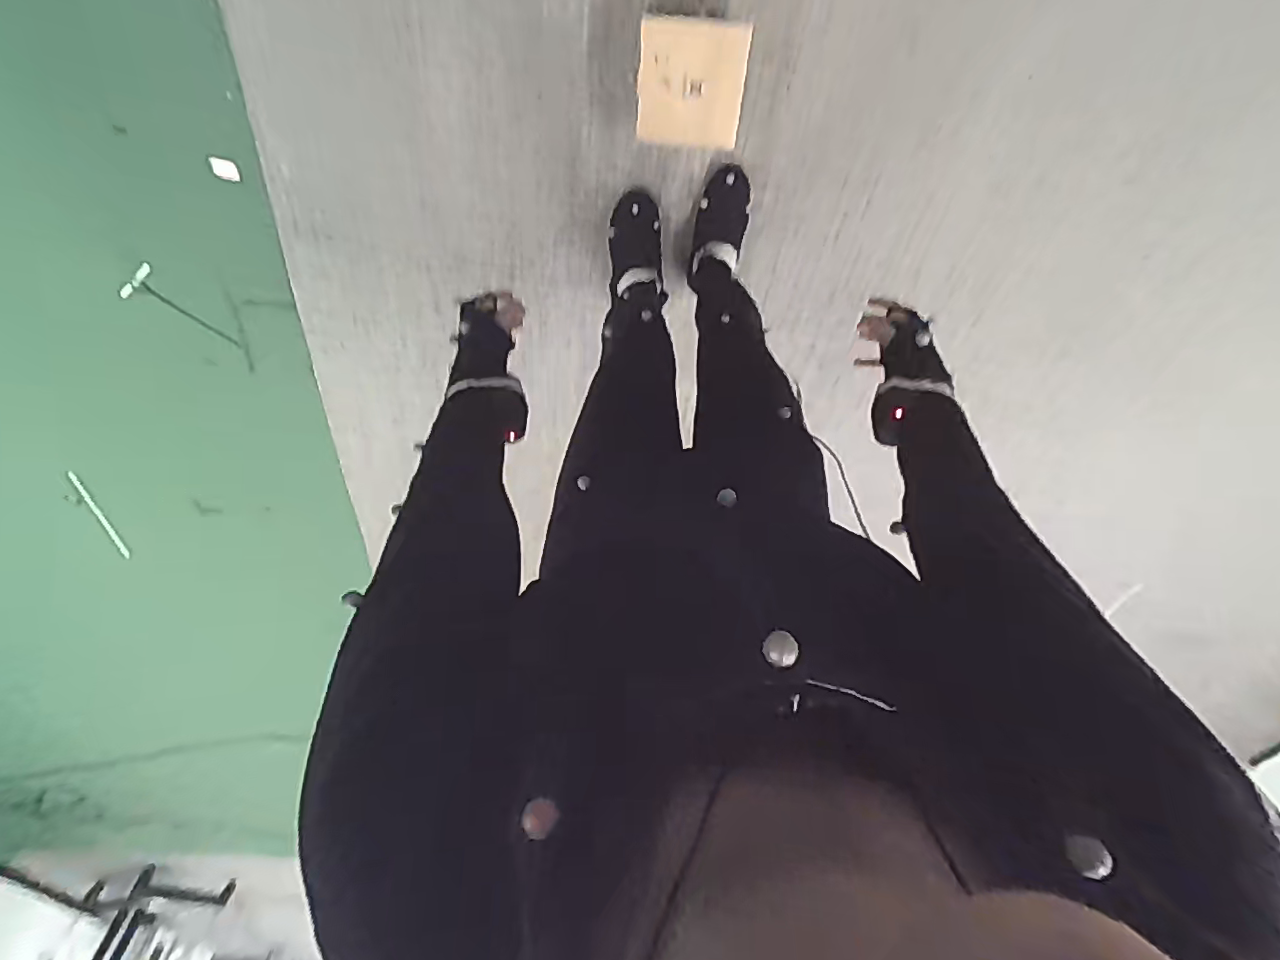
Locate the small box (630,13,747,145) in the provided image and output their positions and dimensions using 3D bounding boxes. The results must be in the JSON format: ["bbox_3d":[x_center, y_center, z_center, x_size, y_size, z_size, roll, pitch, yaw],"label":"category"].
[{"bbox_3d":[0.074,-0.703,0.948,0.179,0.176,0.168,3,129,-3],"label":"small box"}]
